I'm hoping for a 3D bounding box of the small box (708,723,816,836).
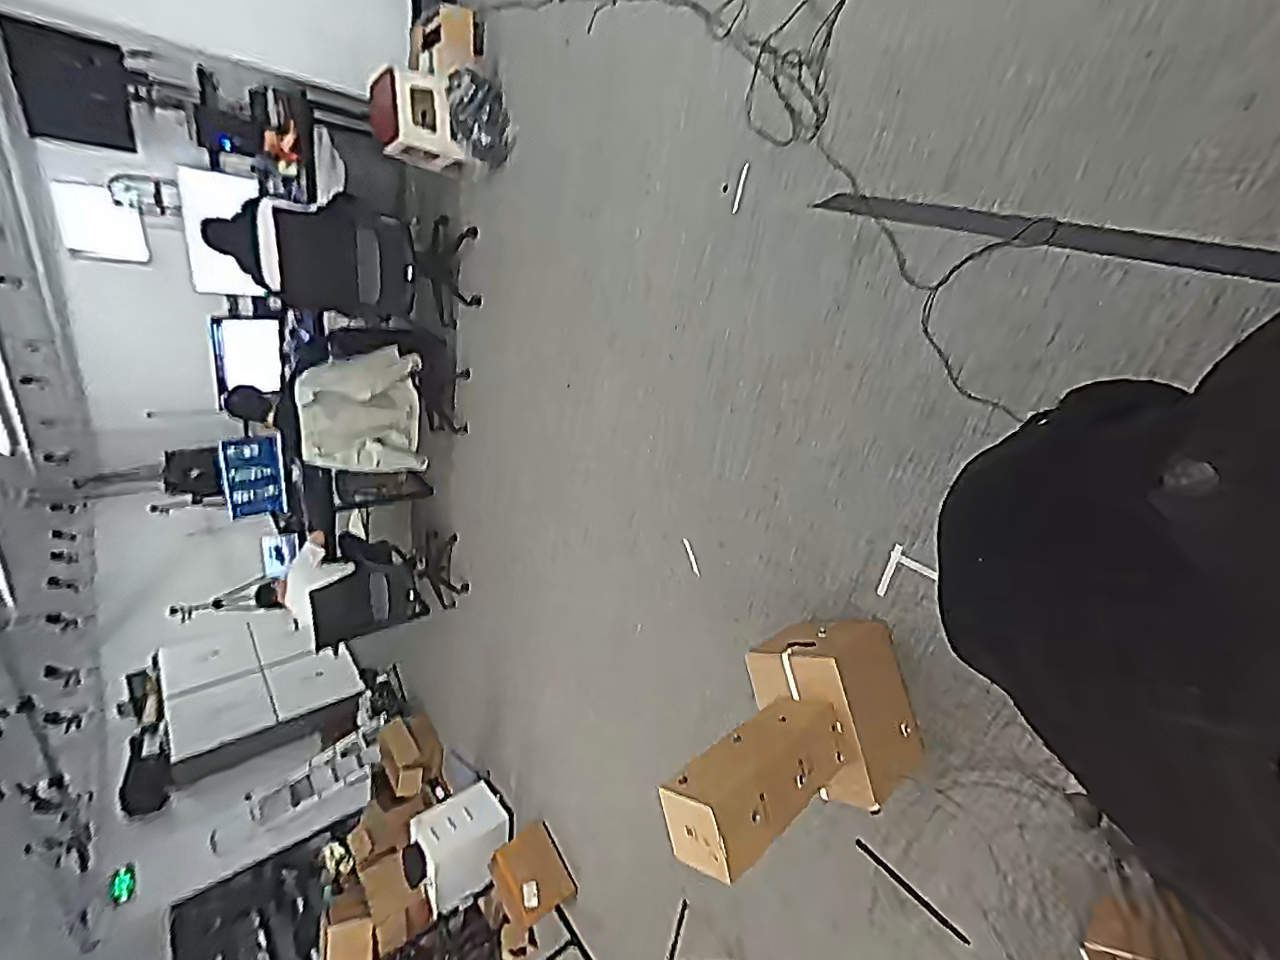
[{"bbox_3d":[0.298,0.718,1.323,0.179,0.176,0.168,-15,88,48],"label":"small box"}]

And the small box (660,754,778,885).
[{"bbox_3d":[0.177,0.745,1.214,0.179,0.176,0.168,-16,88,49],"label":"small box"}]

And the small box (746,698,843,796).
[{"bbox_3d":[0.416,0.696,1.433,0.179,0.176,0.168,-19,84,50],"label":"small box"}]
